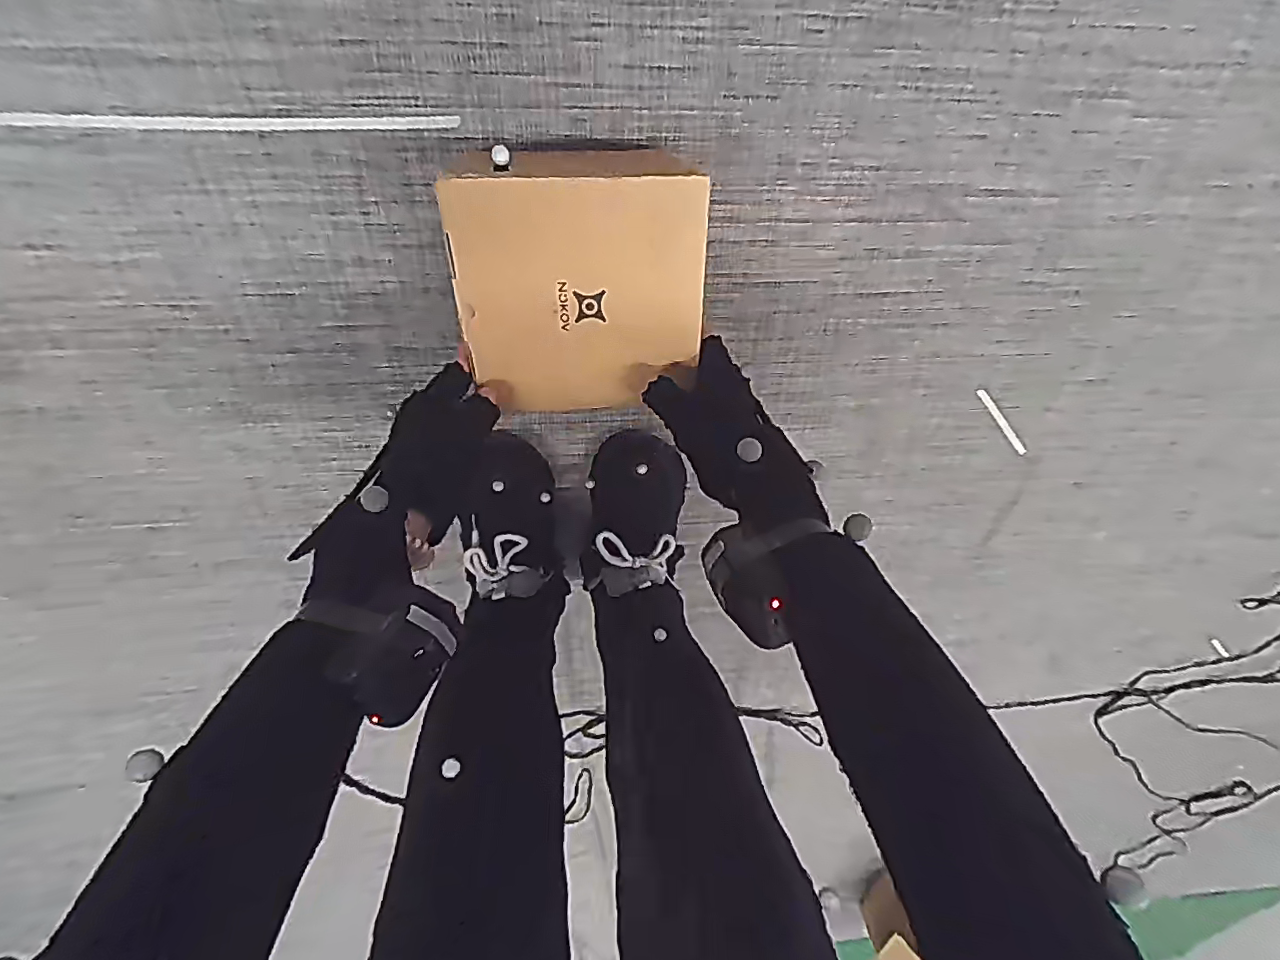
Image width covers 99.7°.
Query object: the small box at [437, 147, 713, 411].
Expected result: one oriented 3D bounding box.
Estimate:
[{"bbox_3d":[-0.047,-0.172,0.446,0.179,0.176,0.168,-3,126,-4],"label":"small box"}]
